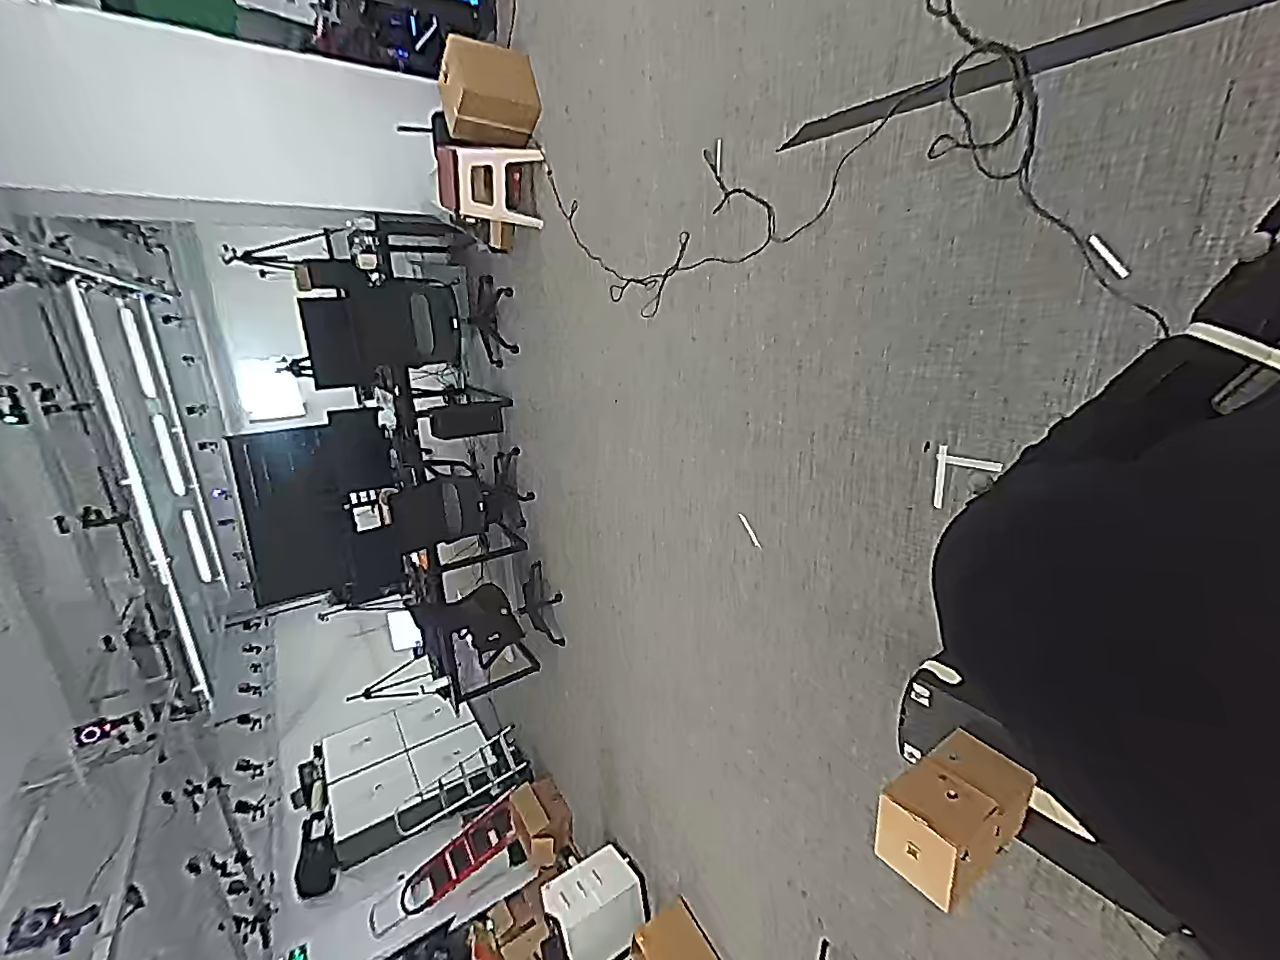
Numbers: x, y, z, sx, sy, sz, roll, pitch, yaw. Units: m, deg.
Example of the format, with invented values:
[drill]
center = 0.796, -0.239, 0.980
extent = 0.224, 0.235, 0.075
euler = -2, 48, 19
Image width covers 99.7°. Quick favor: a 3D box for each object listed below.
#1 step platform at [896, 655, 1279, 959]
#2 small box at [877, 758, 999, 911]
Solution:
[step platform]
center = 0.960, 0.710, 1.263
extent = 0.684, 0.204, 0.286
euler = 22, 120, 52
[small box]
center = 0.633, 0.743, 1.152
extent = 0.168, 0.176, 0.179
euler = 20, 117, 55
